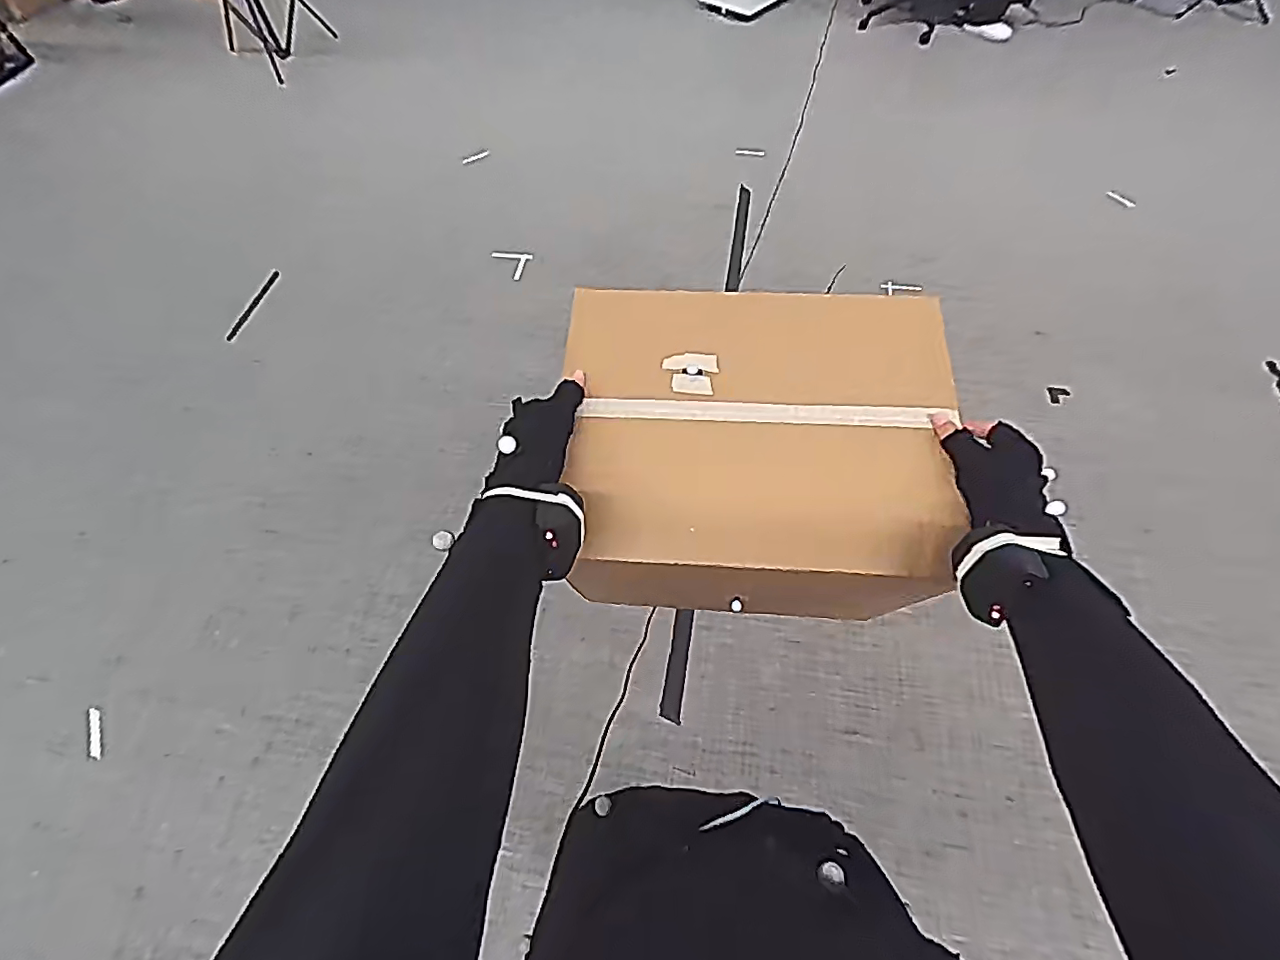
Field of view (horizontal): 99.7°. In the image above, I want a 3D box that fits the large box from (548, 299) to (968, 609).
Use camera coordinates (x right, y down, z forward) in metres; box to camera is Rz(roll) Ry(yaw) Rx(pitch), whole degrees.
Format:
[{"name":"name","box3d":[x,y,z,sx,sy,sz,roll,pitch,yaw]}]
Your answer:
[{"name":"large box","box3d":[0.127,-0.011,0.704,0.408,0.320,0.320,2,68,6]}]
